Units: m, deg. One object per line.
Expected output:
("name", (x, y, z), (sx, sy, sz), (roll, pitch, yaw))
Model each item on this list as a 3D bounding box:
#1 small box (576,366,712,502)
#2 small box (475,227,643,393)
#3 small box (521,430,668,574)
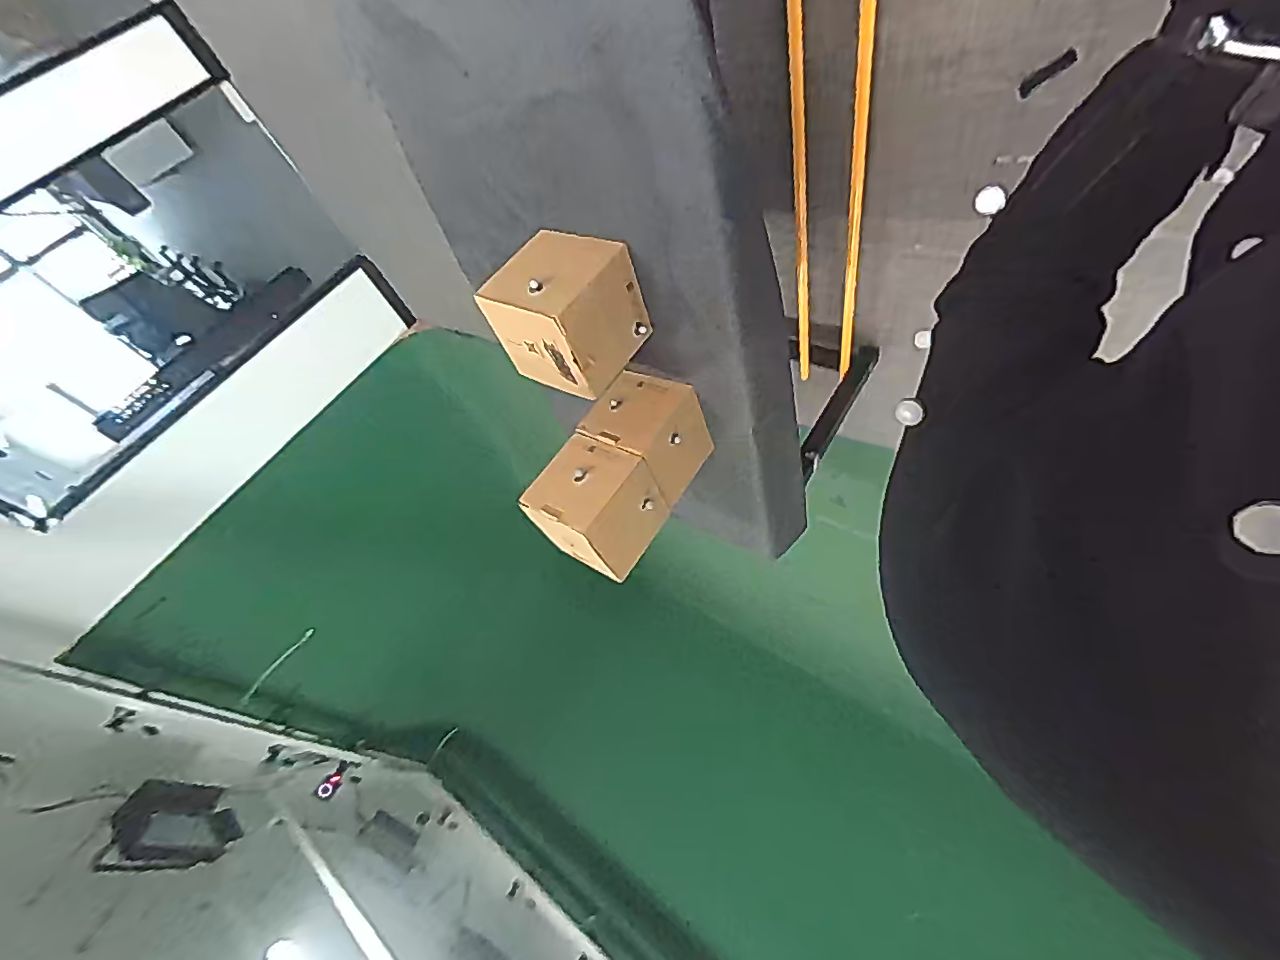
("small box", (0.016, -0.092, 1.035), (0.168, 0.176, 0.179), (22, 156, 35))
("small box", (-0.112, -0.270, 0.847), (0.179, 0.176, 0.168), (25, 156, 30))
("small box", (-0.074, 0.035, 0.982), (0.168, 0.176, 0.179), (22, 155, 35))
